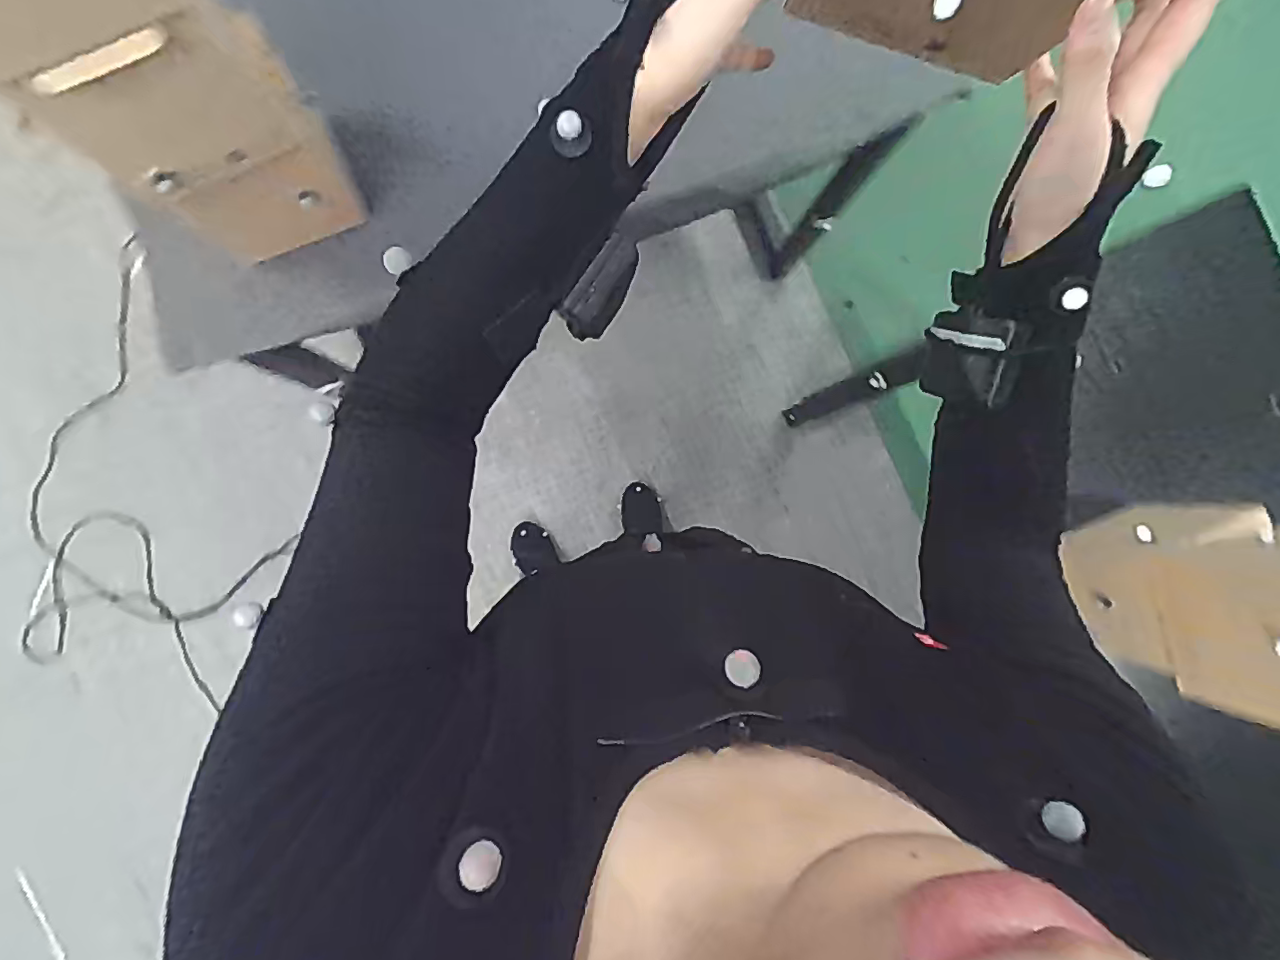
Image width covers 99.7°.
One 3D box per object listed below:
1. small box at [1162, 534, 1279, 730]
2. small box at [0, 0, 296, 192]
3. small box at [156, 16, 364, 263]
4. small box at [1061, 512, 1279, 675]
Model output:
[{"bbox_3d":[0.722,0.163,0.573,0.168,0.176,0.179,-12,89,-4],"label":"small box"},{"bbox_3d":[-0.473,-0.408,0.508,0.168,0.176,0.179,-28,87,-5],"label":"small box"},{"bbox_3d":[-0.475,-0.405,0.672,0.179,0.176,0.168,-24,88,-4],"label":"small box"},{"bbox_3d":[0.724,0.148,0.737,0.179,0.176,0.168,-20,90,-4],"label":"small box"}]
